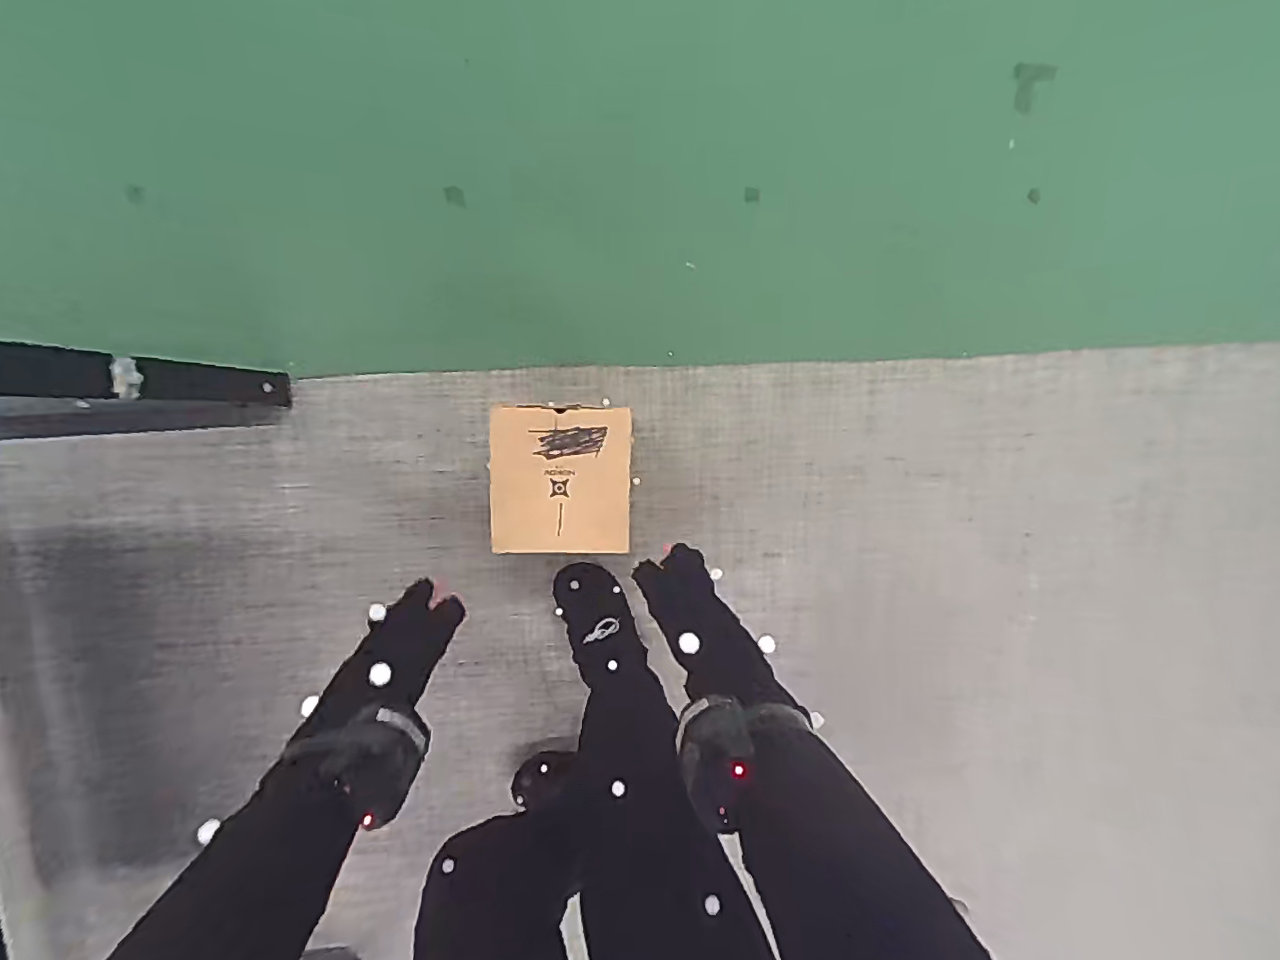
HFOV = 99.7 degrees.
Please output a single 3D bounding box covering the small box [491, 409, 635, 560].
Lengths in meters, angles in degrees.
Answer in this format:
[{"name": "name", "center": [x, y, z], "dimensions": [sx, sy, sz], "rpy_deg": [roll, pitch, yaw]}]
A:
[{"name": "small box", "center": [-0.095, -0.001, 0.714], "dimensions": [0.168, 0.176, 0.179], "rpy_deg": [1, 97, -2]}]
